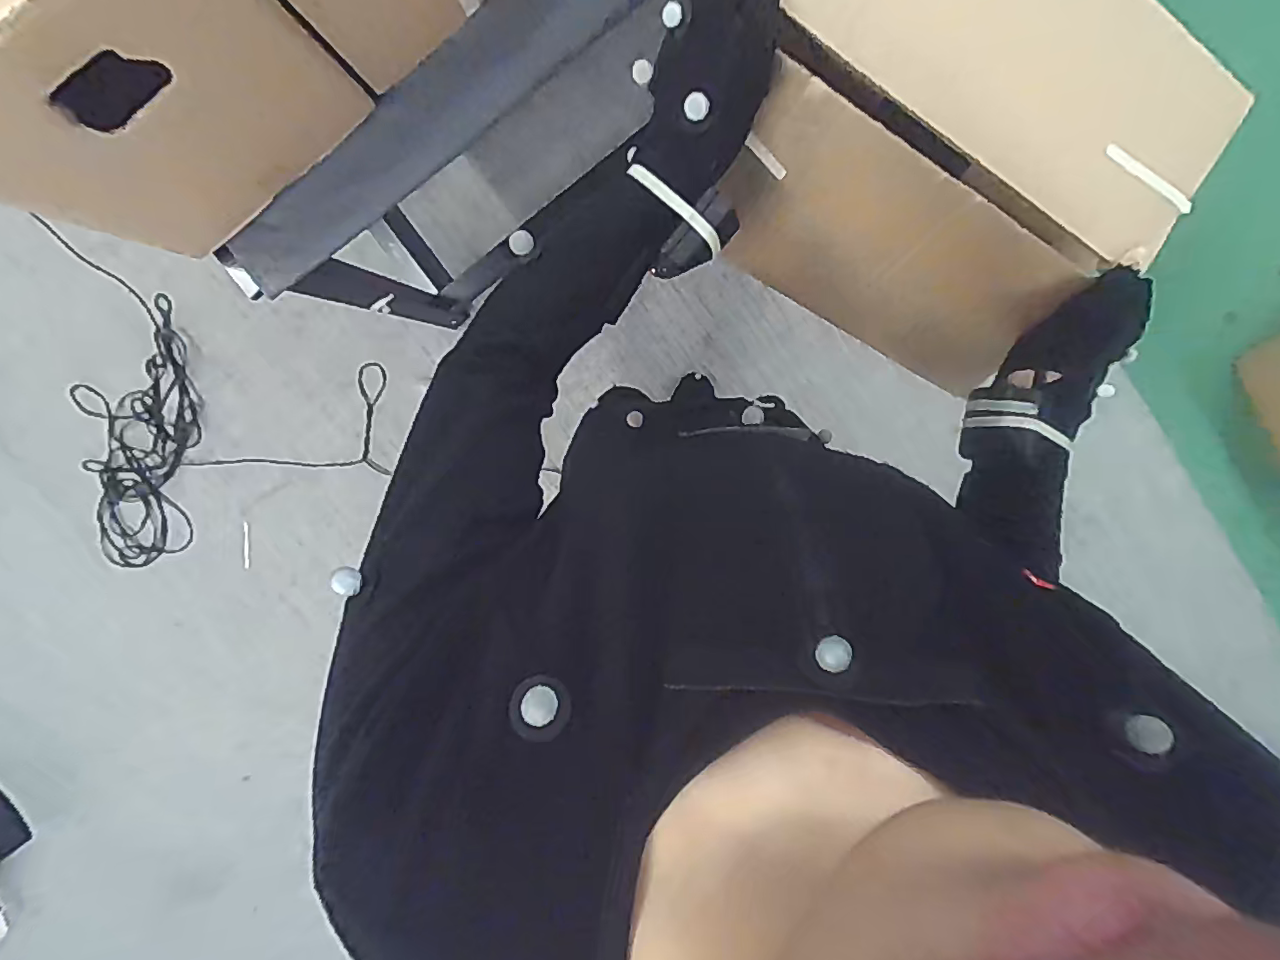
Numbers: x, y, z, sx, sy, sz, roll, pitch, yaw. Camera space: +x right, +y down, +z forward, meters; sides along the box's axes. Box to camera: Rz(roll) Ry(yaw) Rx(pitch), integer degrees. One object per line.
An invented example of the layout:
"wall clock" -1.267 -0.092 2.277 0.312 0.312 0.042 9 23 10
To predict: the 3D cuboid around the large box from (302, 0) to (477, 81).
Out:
"large box" -0.323 -0.703 0.479 0.320 0.320 0.408 -36 98 9
